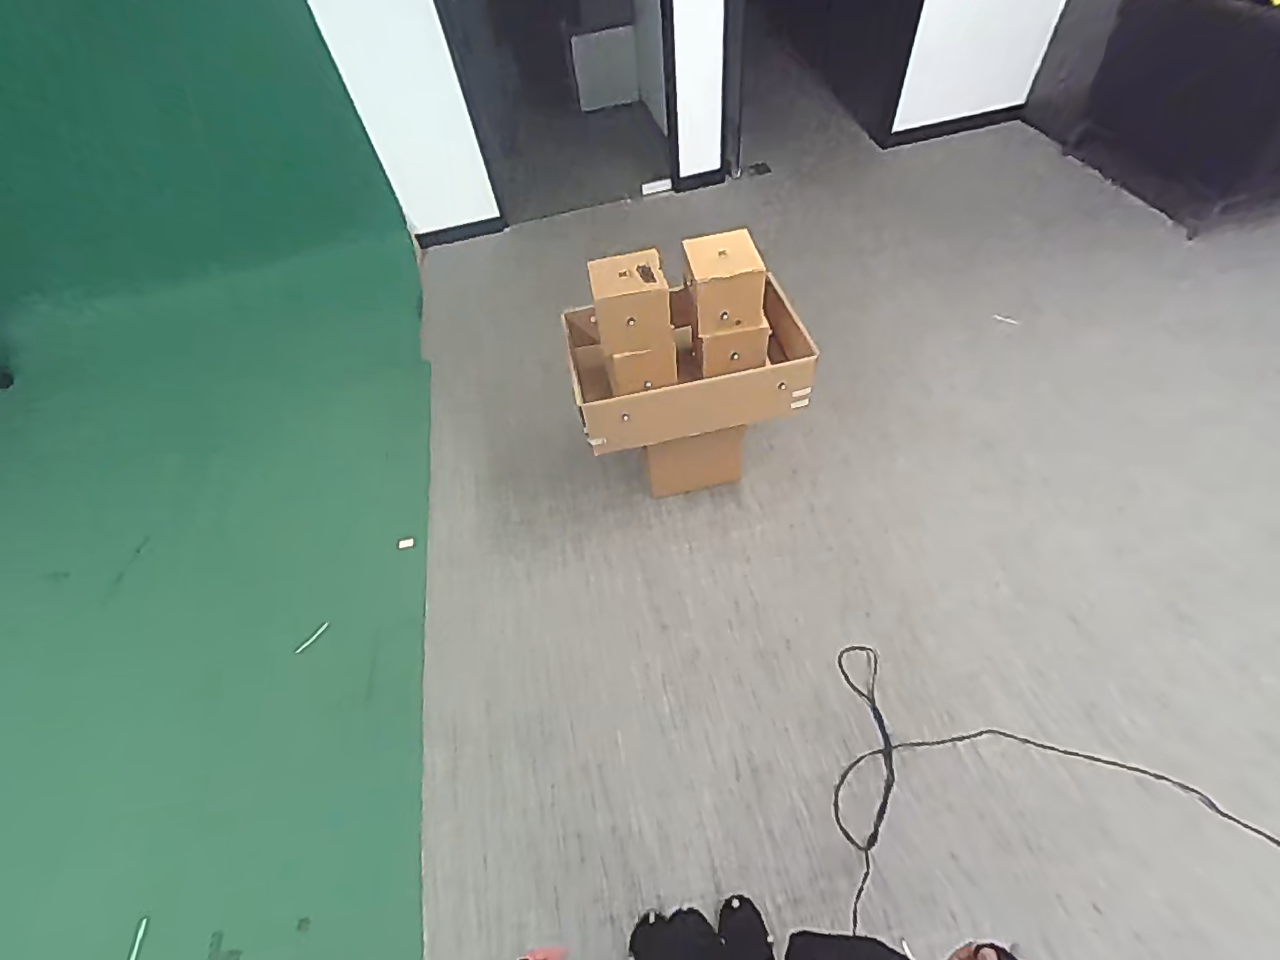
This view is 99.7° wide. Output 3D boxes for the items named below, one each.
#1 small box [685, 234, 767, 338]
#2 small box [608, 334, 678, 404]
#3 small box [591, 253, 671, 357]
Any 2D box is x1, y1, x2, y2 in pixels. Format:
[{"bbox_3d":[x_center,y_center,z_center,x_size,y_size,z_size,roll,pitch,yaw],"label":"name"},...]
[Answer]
[{"bbox_3d":[0.210,-0.487,1.363,0.168,0.176,0.179,-11,53,0],"label":"small box"},{"bbox_3d":[0.001,-0.339,1.480,0.168,0.176,0.179,-15,54,-5],"label":"small box"},{"bbox_3d":[-0.019,-0.433,1.347,0.179,0.176,0.168,-10,53,0],"label":"small box"}]
